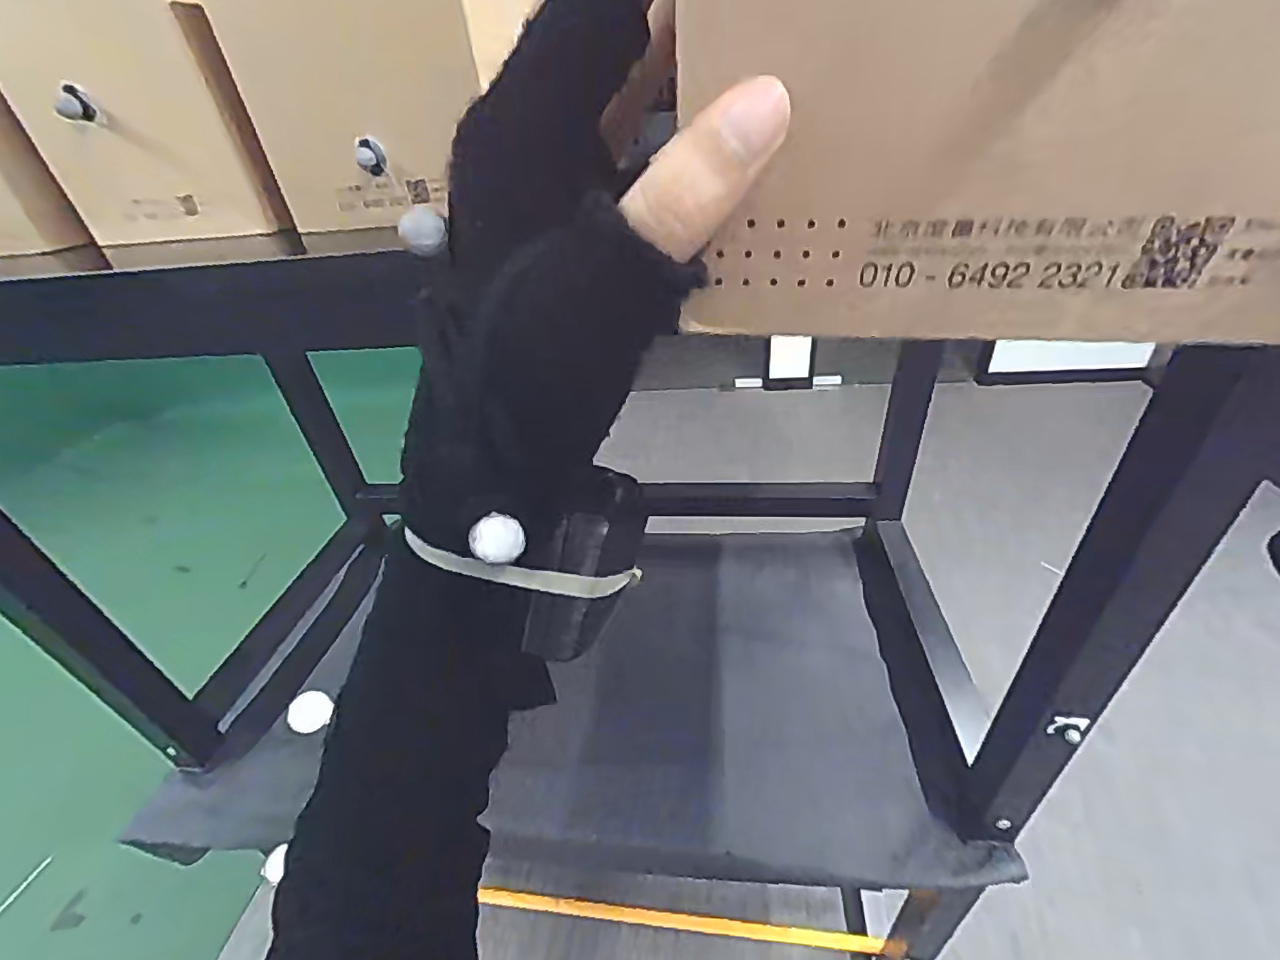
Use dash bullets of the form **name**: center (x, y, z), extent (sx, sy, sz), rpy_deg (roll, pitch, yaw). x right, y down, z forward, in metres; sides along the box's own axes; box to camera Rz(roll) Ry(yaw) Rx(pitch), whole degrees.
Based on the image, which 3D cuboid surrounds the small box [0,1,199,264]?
- **small box**: center (-0.544, -0.296, 0.473), extent (0.168, 0.176, 0.179), rpy_deg (1, 37, 10)

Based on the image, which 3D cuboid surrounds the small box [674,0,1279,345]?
- **small box**: center (0.096, -0.148, 0.142), extent (0.168, 0.176, 0.179), rpy_deg (3, 41, 5)
